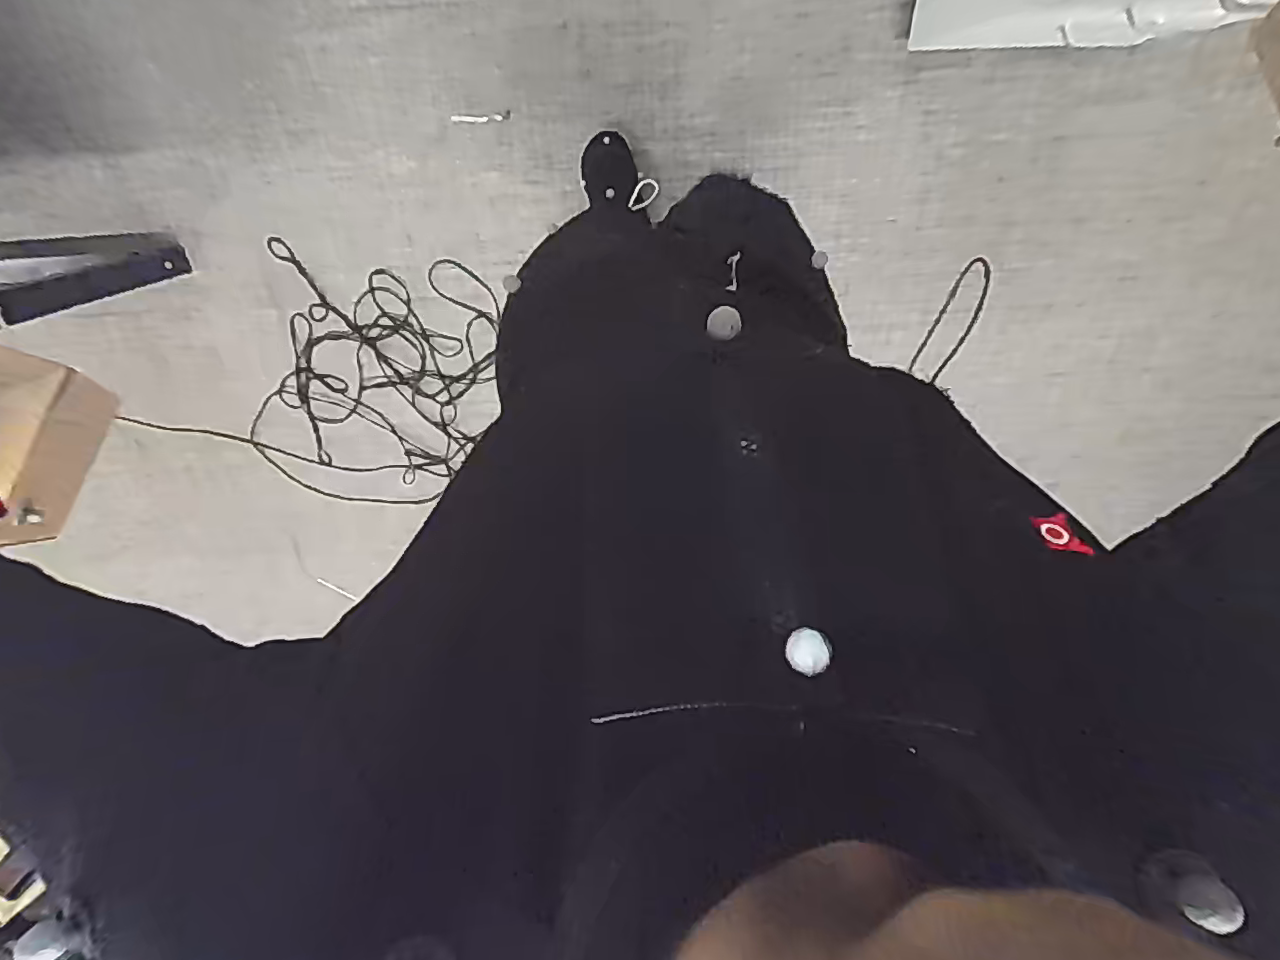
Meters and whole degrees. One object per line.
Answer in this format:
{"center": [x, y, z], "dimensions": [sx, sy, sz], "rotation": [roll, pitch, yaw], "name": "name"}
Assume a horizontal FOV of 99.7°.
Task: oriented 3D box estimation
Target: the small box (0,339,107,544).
{"center": [-0.621, -0.047, 0.473], "dimensions": [0.168, 0.176, 0.179], "rotation": [20, 165, -31], "name": "small box"}
